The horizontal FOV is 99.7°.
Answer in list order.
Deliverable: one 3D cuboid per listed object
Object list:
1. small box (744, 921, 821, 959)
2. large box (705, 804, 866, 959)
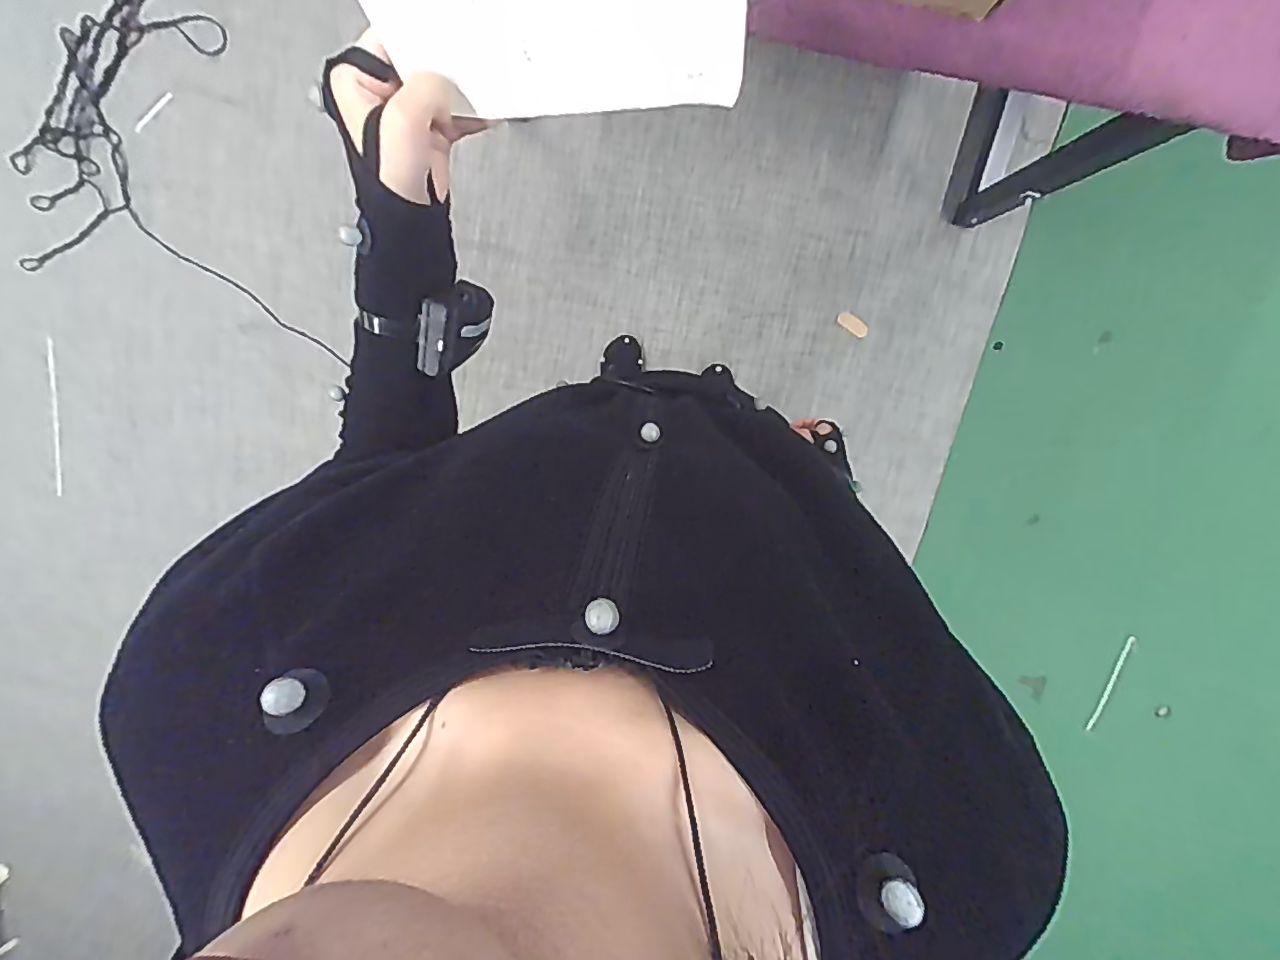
[{"bbox_3d":[0.366,1.263,1.366,0.179,0.176,0.168,1,101,4],"label":"small box"},{"bbox_3d":[0.409,1.210,1.603,0.408,0.320,0.320,-2,103,3],"label":"large box"}]
